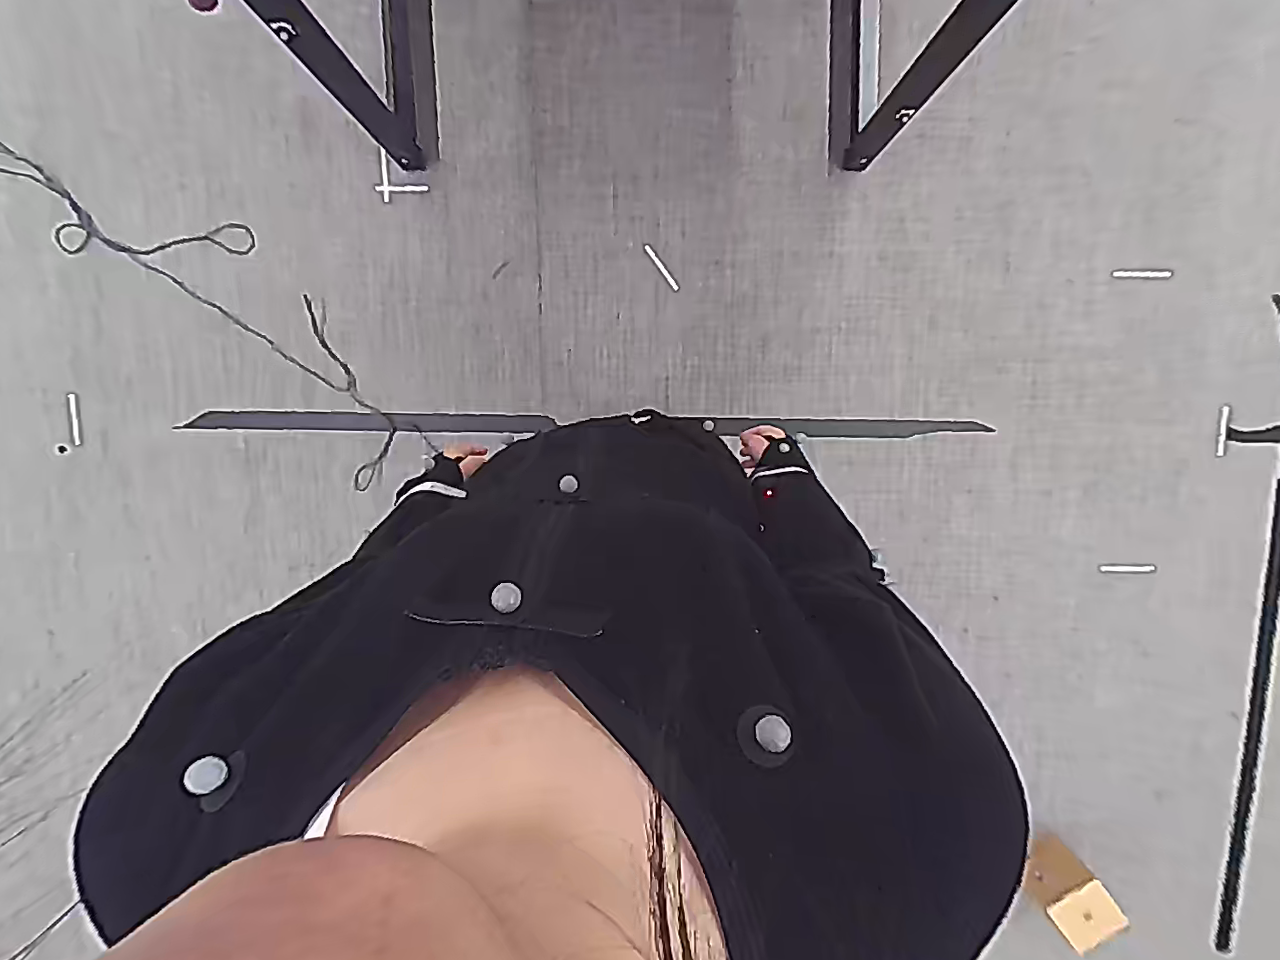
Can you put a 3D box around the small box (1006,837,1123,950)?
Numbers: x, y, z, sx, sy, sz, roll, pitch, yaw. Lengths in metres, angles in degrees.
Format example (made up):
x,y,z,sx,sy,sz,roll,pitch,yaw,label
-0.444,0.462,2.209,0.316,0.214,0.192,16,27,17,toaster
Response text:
x,y,z,sx,sy,sz,roll,pitch,yaw,label
1.213,1.177,1.560,0.168,0.176,0.179,-37,97,5,small box
